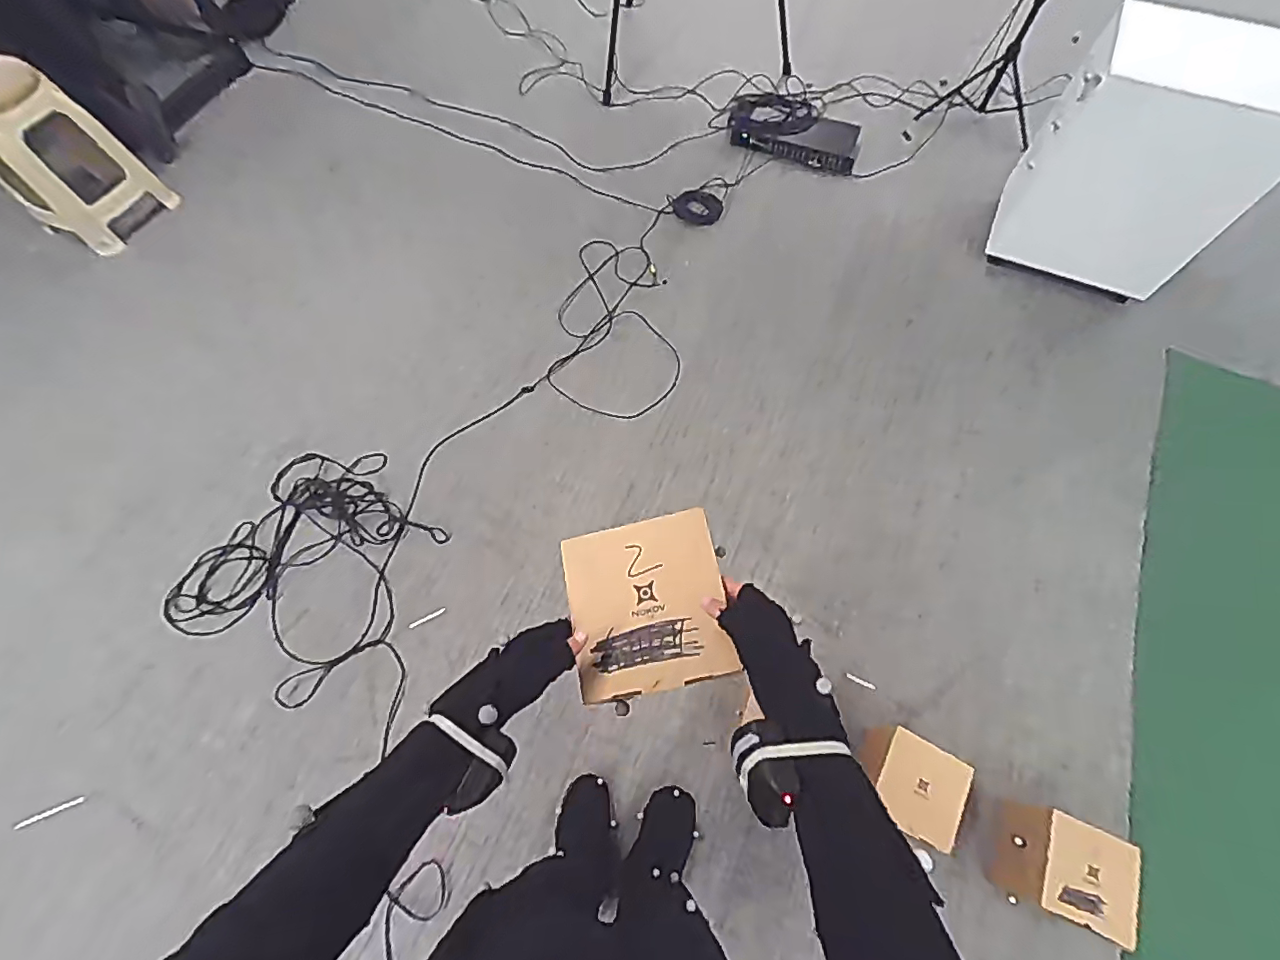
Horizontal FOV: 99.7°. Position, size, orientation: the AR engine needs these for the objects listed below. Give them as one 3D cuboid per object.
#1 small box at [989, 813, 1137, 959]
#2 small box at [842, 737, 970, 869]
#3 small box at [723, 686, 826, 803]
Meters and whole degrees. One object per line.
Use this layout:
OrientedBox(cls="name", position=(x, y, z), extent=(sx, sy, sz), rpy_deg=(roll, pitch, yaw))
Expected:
OrientedBox(cls="small box", position=(0.838, 0.804, 1.084), extent=(0.168, 0.176, 0.179), rpy_deg=(23, 65, 11))
OrientedBox(cls="small box", position=(0.554, 0.672, 1.148), extent=(0.168, 0.176, 0.179), rpy_deg=(27, 68, 12))
OrientedBox(cls="small box", position=(0.288, 0.577, 1.192), extent=(0.168, 0.176, 0.179), rpy_deg=(18, 67, 10))
